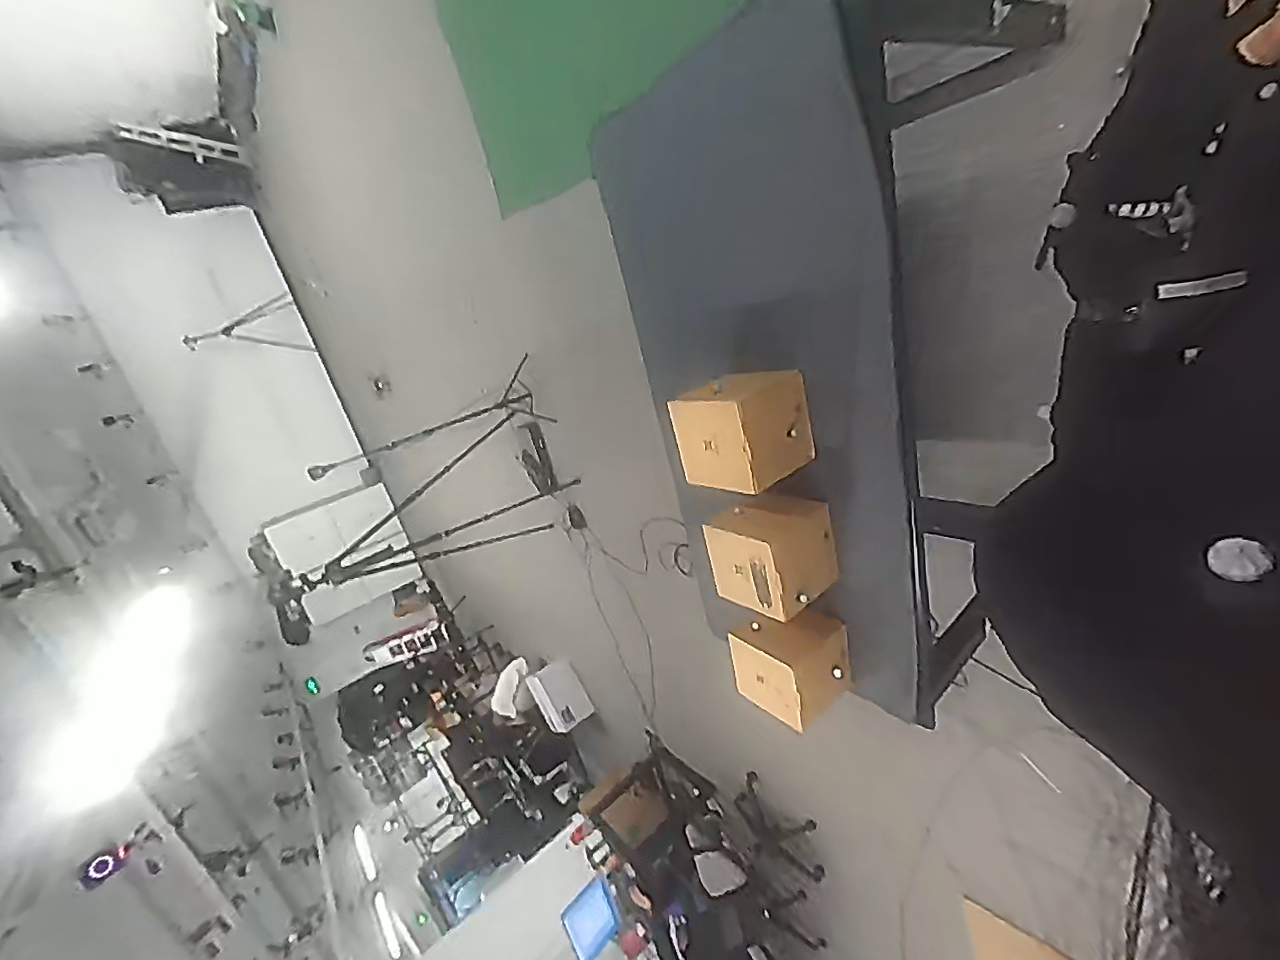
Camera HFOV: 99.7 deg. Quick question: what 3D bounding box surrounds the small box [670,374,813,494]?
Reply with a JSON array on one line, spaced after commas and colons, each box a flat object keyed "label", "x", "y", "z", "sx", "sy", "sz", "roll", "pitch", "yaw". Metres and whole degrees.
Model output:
[{"label": "small box", "x": 0.186, "y": -0.090, "z": 0.984, "sx": 0.179, "sy": 0.176, "sz": 0.168, "roll": 9, "pitch": 119, "yaw": 52}]

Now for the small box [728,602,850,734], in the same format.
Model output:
[{"label": "small box", "x": 0.313, "y": 0.380, "z": 1.133, "sx": 0.179, "sy": 0.176, "sz": 0.168, "roll": 15, "pitch": 125, "yaw": 52}]
